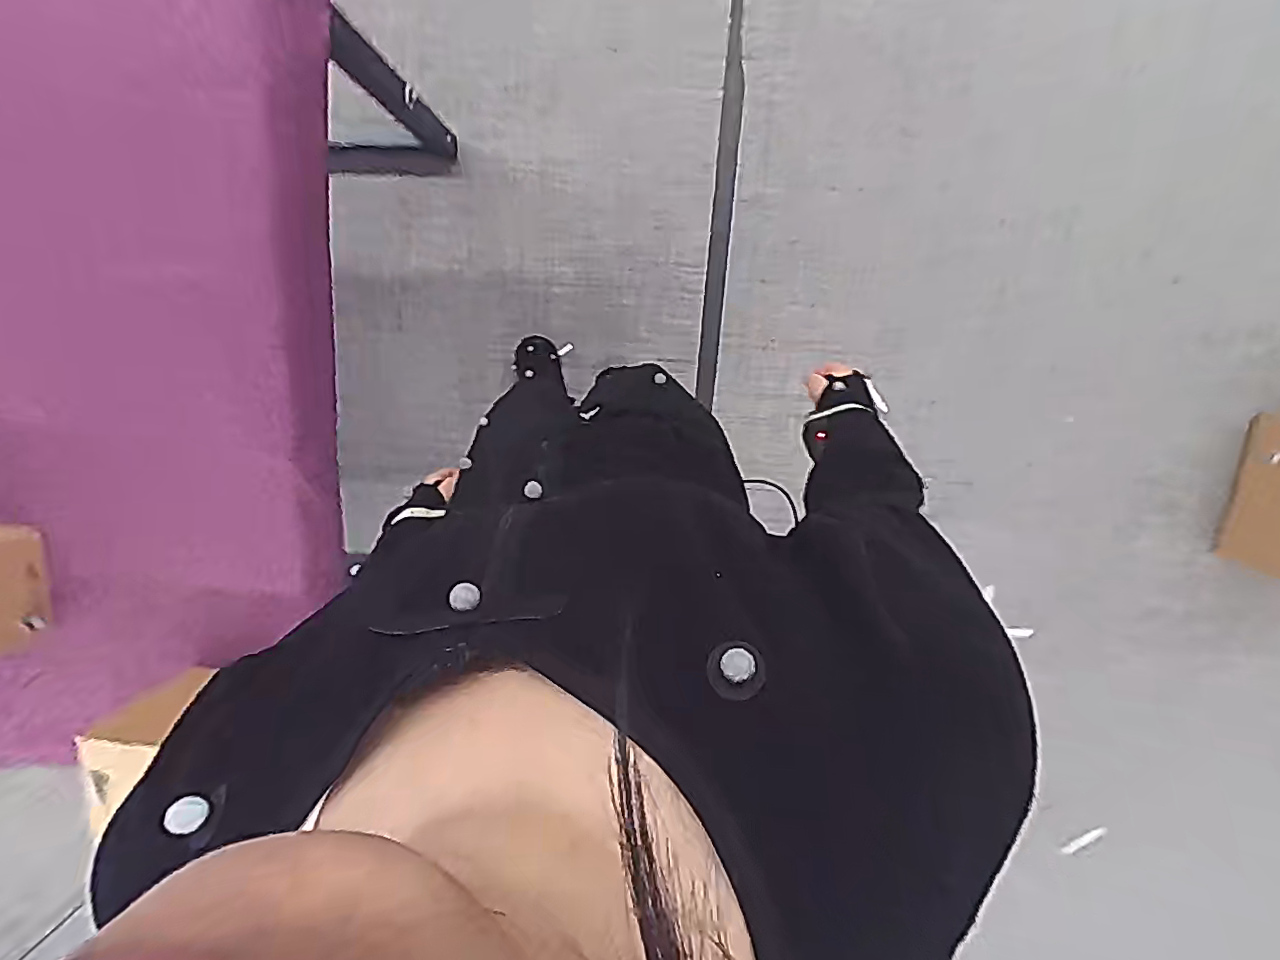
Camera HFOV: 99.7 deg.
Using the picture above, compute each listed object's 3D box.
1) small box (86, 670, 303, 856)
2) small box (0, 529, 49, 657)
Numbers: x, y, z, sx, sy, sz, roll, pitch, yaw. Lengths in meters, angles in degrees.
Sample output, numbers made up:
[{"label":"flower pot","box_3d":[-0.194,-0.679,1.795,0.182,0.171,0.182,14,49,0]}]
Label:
[{"label":"small box","box_3d":[-0.609,0.390,0.768,0.179,0.176,0.168,5,102,1]},{"label":"small box","box_3d":[-0.965,0.163,0.731,0.179,0.176,0.168,5,102,0]}]
